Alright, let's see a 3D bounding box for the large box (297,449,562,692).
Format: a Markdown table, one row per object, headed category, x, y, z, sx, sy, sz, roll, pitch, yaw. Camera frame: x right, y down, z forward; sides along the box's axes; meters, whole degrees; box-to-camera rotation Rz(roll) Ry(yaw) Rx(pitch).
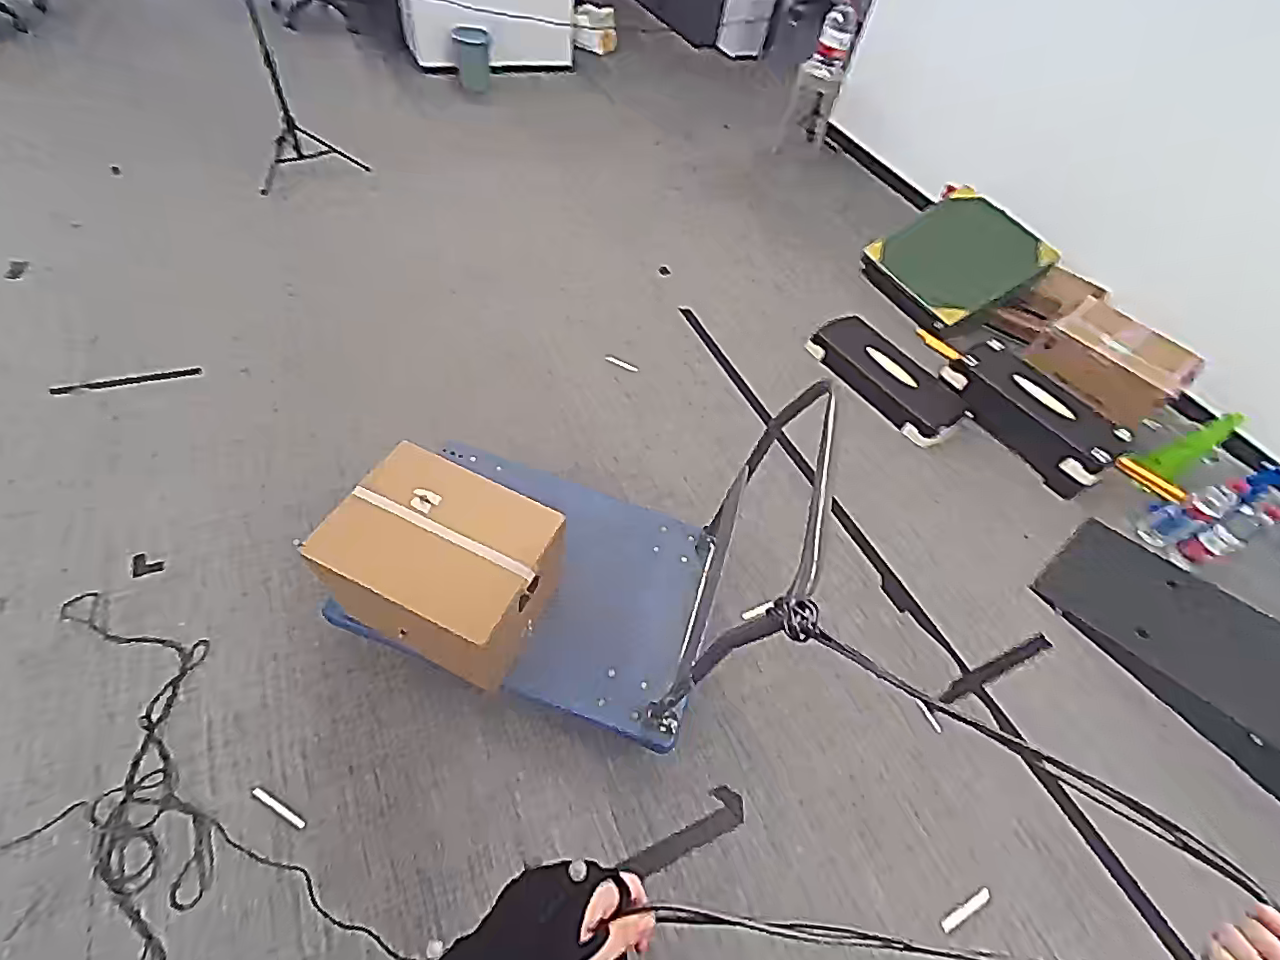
| category | x | y | z | sx | sy | sz | roll | pitch | yaw |
| --- | --- | --- | --- | --- | --- | --- | --- | --- | --- |
| large box | -0.414 | 0.202 | 1.177 | 0.408 | 0.320 | 0.320 | 23 | 53 | 8 |
